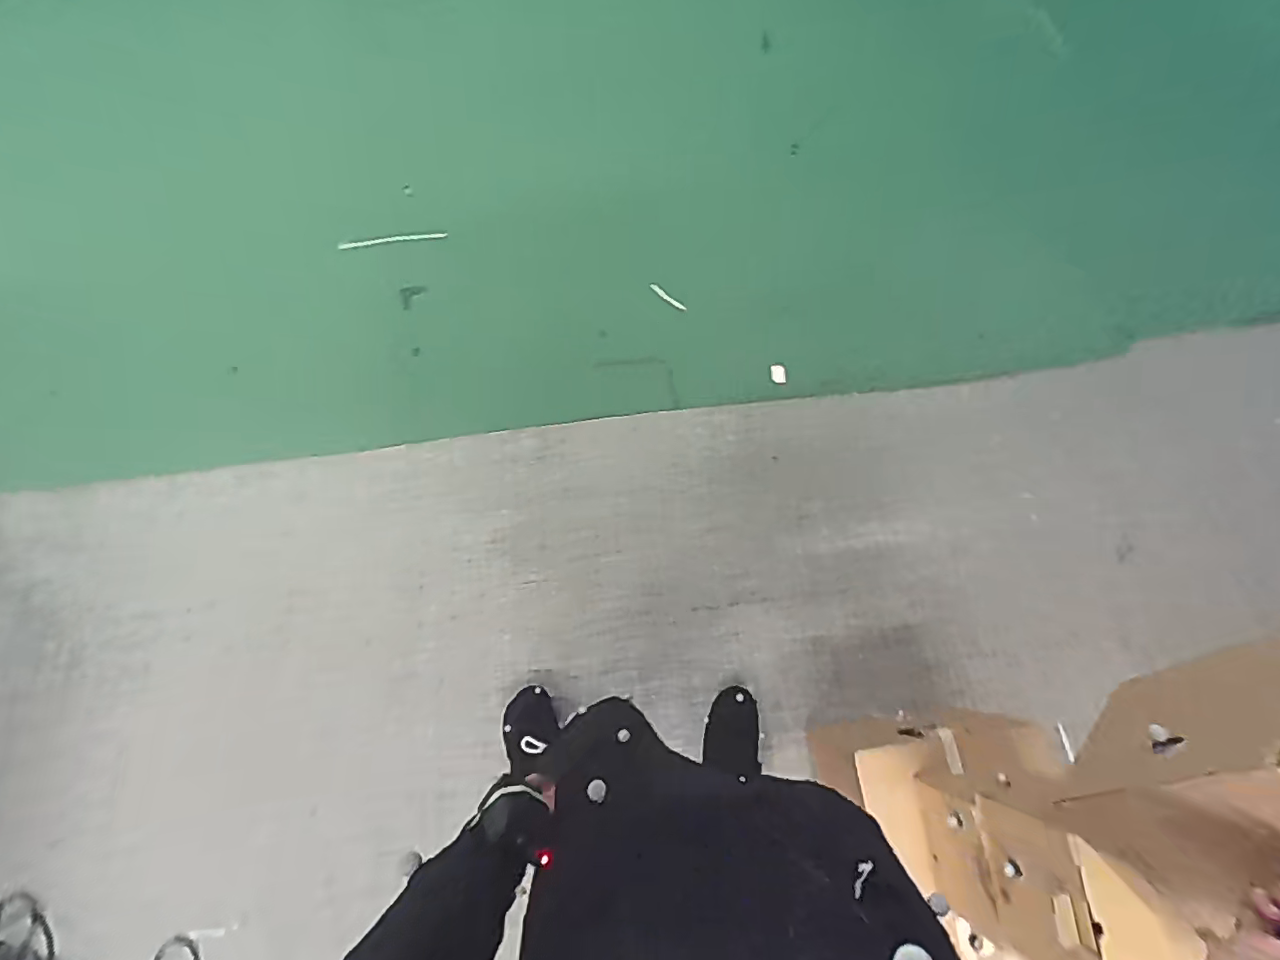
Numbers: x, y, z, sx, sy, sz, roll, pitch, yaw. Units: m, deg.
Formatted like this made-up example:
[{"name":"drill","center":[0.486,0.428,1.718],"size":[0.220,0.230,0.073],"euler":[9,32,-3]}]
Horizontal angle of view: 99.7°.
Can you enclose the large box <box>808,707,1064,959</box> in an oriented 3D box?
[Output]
[{"name":"large box","center":[0.525,0.647,0.947],"size":[0.320,0.320,0.408],"euler":[-8,73,0]}]

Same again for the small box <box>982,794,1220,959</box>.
[{"name":"small box","center":[0.516,0.450,0.583],"size":[0.179,0.176,0.168],"euler":[-2,72,1]}]
